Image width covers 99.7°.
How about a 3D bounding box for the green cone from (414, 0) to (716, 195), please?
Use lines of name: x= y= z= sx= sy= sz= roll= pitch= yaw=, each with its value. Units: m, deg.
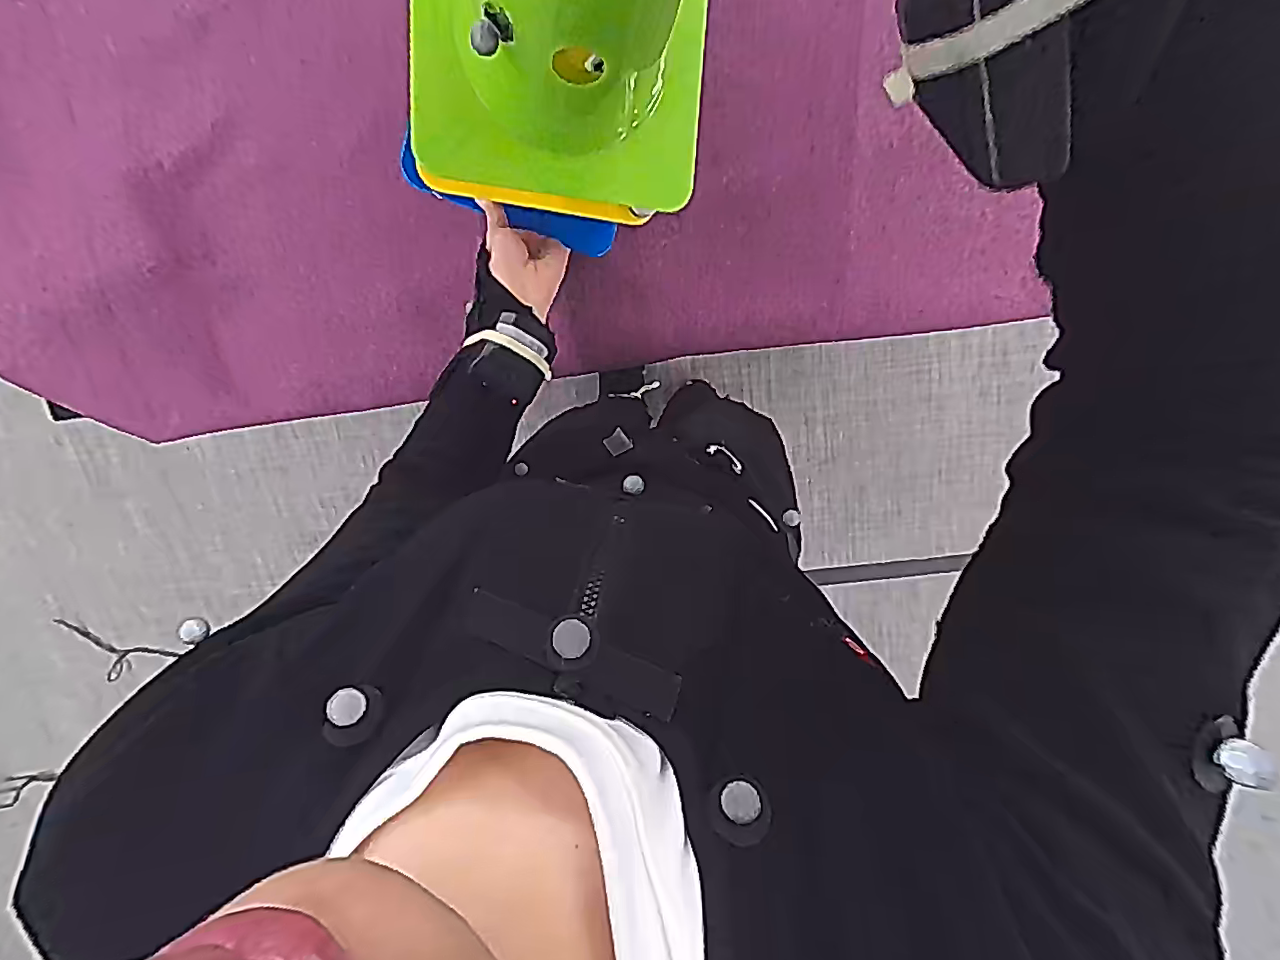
green cone: x=-0.007 y=-0.274 z=0.198 sx=0.200 sy=0.368 sz=0.202 roll=0 pitch=101 yaw=-13
